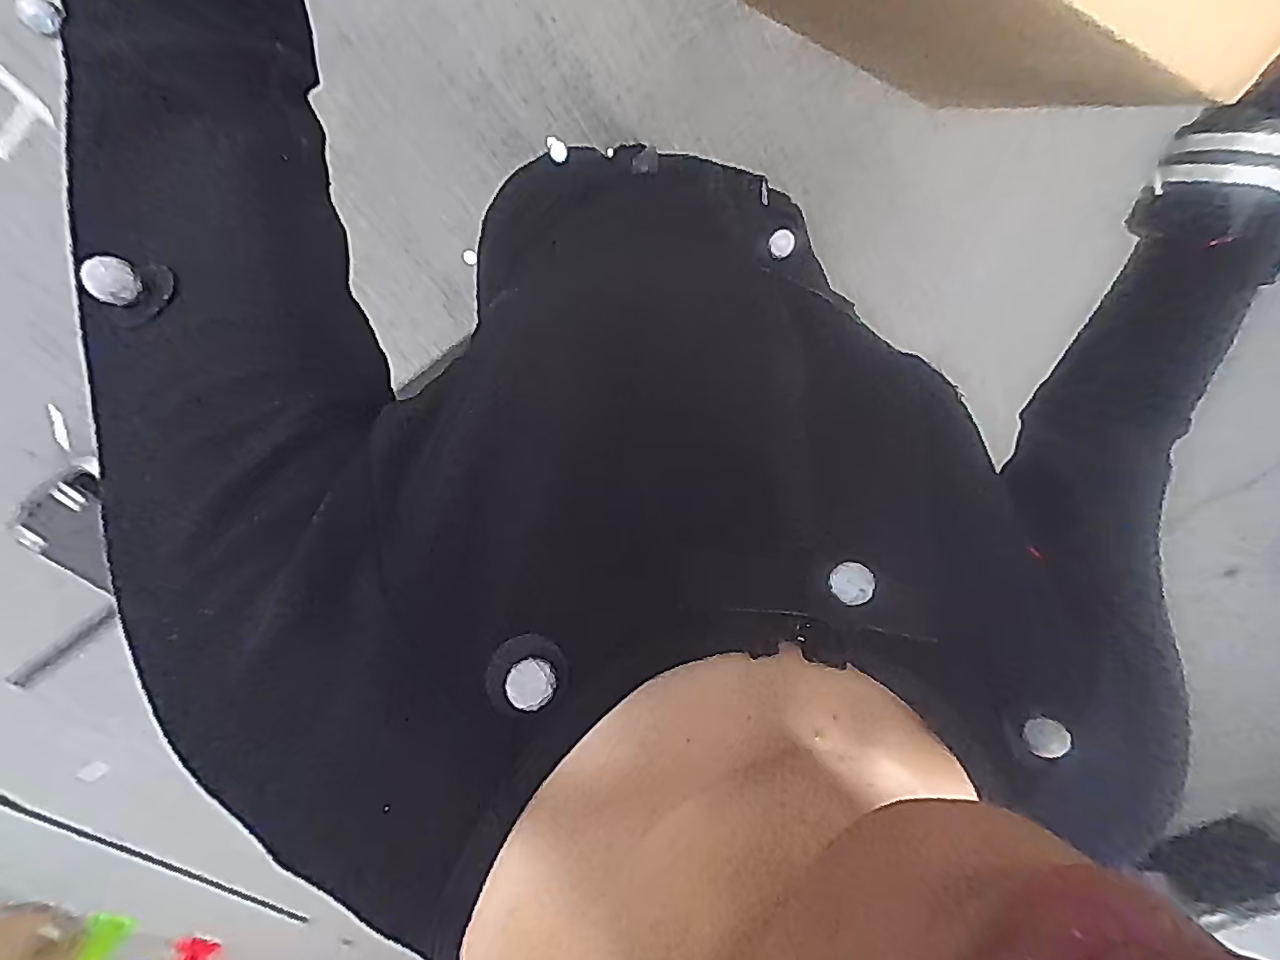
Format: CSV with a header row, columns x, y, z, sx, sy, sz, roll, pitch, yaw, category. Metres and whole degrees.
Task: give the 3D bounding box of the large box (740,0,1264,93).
x,y,z,sx,sy,sz,roll,pitch,yaw,category
0.177,-0.480,0.310,0.408,0.320,0.320,14,122,-15,large box
